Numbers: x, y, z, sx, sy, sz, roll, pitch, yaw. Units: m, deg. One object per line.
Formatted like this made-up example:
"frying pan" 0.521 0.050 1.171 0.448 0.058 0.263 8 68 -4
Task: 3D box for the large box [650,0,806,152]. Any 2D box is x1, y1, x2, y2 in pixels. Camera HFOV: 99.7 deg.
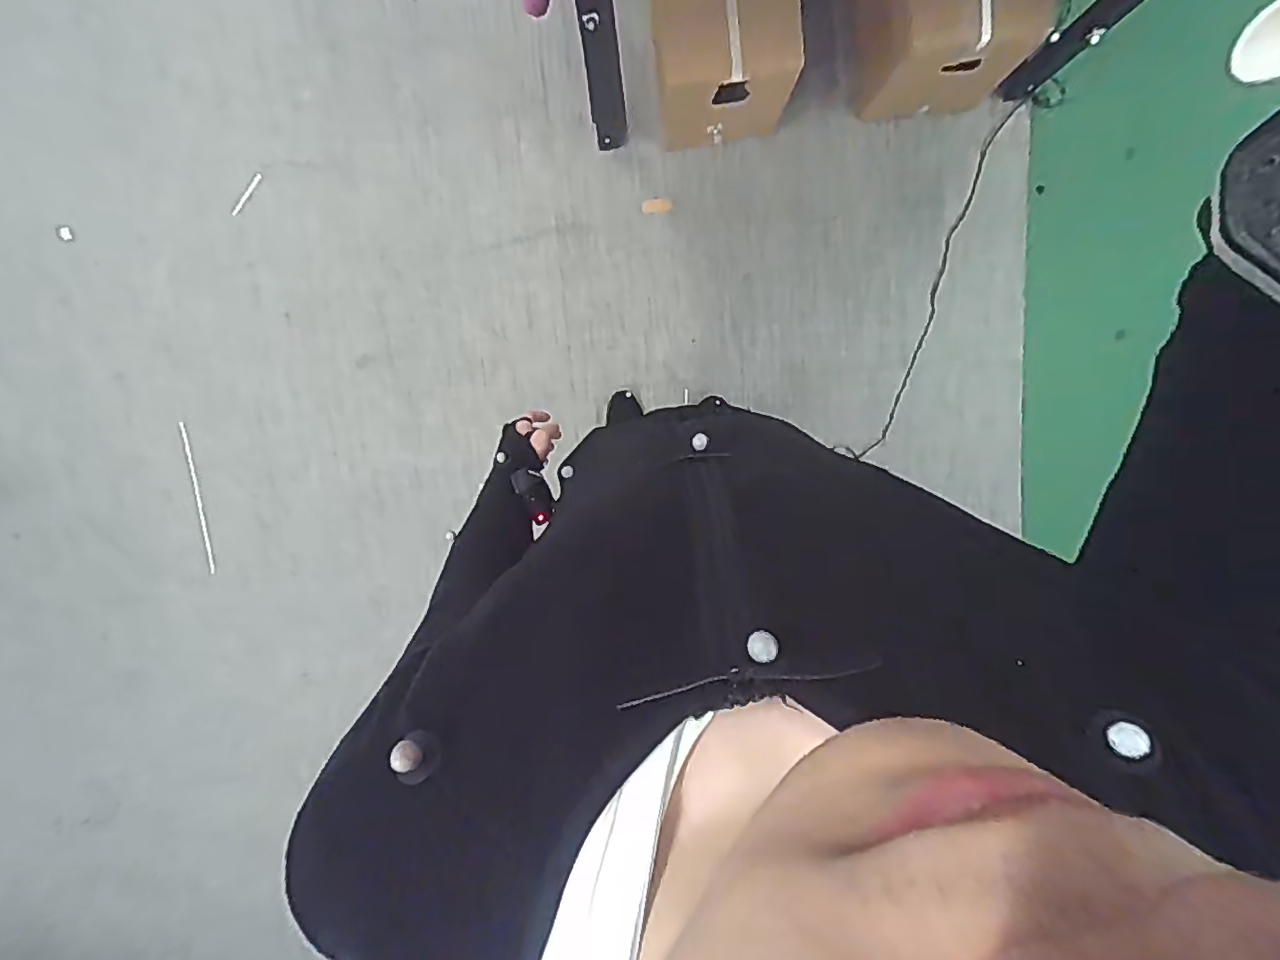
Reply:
"large box" 0.198 -1.114 1.341 0.320 0.320 0.408 -7 96 1
